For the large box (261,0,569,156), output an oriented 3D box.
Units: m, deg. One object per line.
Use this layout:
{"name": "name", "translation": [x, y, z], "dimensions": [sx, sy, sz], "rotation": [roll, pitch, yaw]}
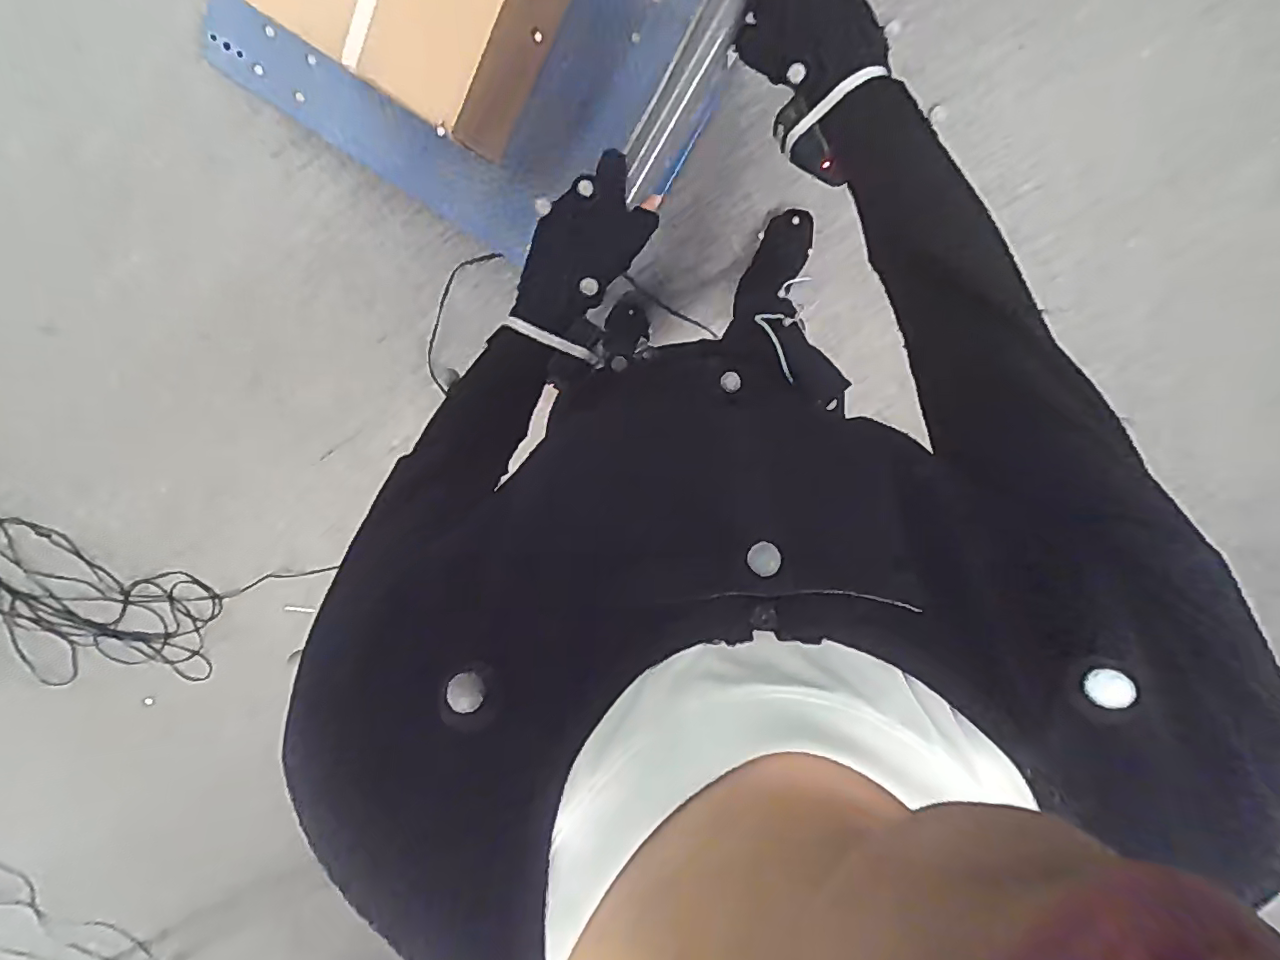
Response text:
{"name": "large box", "translation": [-0.306, -0.817, 0.858], "dimensions": [0.320, 0.320, 0.408], "rotation": [29, 110, -11]}
